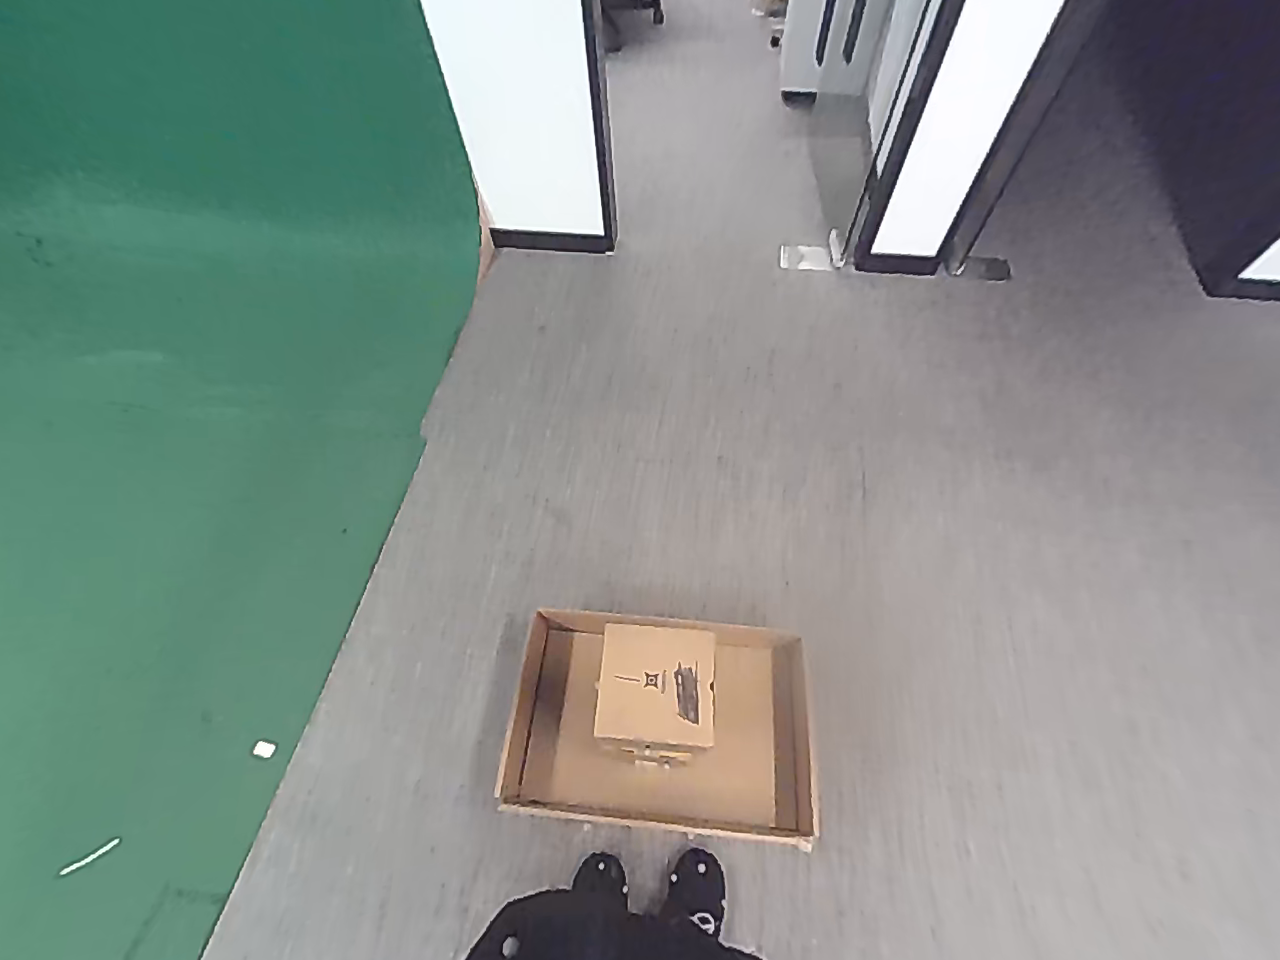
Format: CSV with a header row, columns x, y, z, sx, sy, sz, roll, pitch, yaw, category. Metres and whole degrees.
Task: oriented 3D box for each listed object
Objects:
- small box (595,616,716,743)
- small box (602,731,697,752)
x,y,z,sx,sy,sz,roll,pitch,yaw,category
0.029,0.333,0.891,0.179,0.176,0.168,3,61,4,small box
0.025,0.409,1.018,0.168,0.176,0.179,2,61,3,small box
